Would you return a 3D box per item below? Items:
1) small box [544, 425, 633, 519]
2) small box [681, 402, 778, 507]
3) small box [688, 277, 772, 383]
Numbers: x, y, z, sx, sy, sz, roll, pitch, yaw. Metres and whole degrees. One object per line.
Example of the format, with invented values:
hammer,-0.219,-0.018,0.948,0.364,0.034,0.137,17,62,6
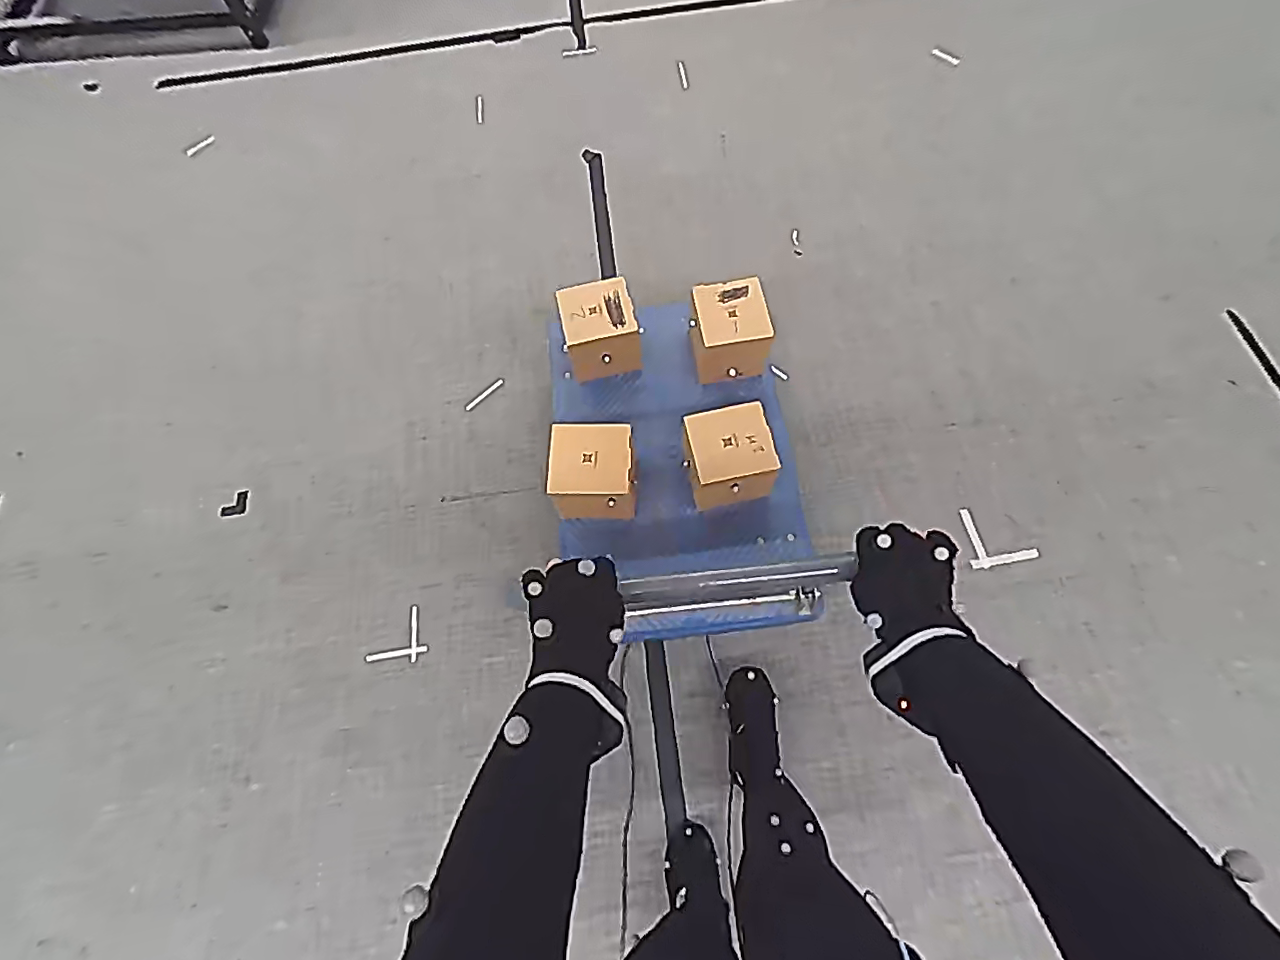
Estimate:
small box,-0.109,-0.013,1.220,0.179,0.176,0.168,0,69,2
small box,0.193,-0.050,1.217,0.179,0.176,0.168,-12,69,-1
small box,0.214,-0.366,1.337,0.168,0.176,0.179,-9,70,0
